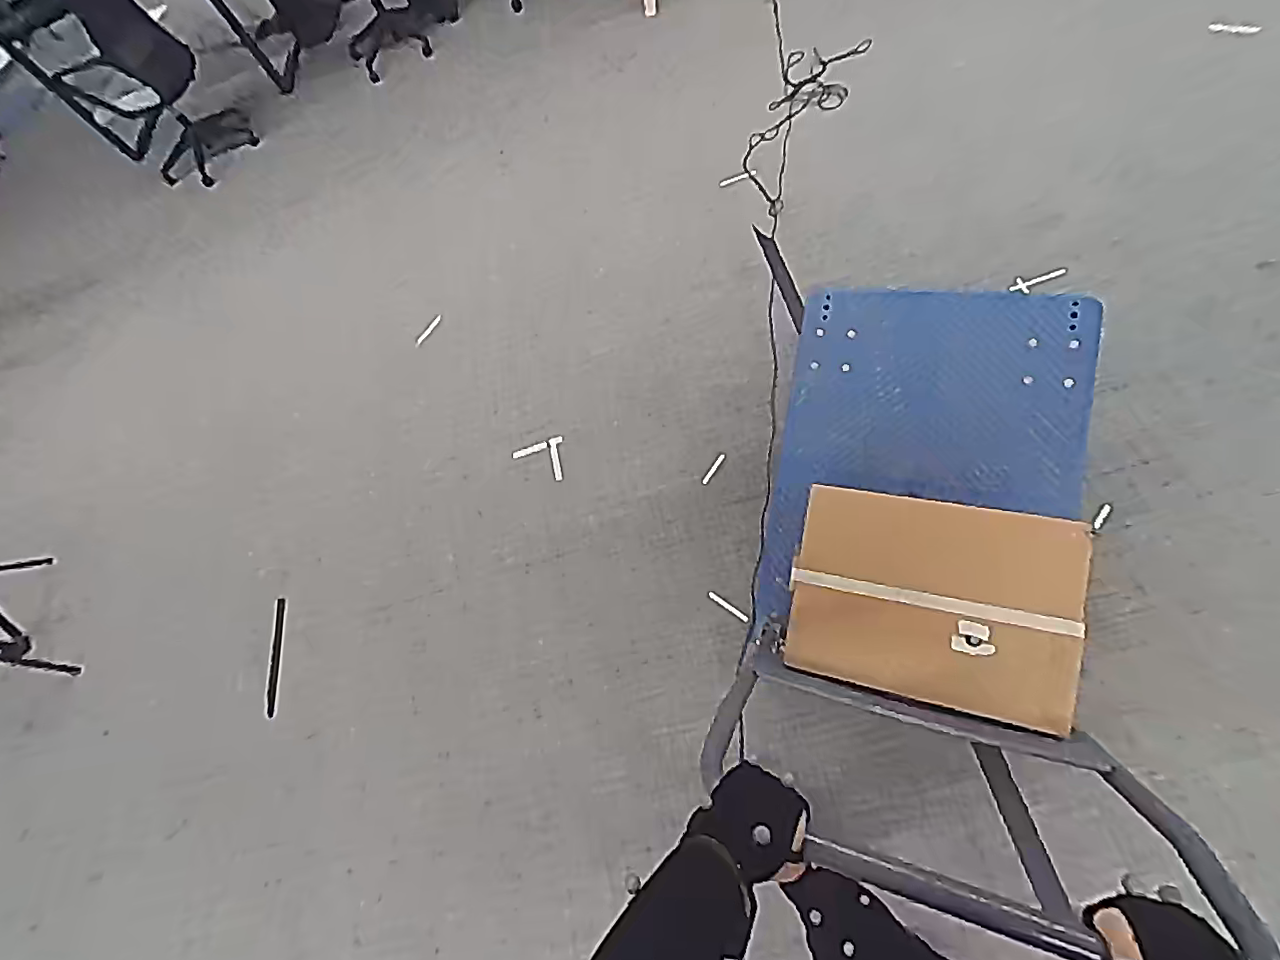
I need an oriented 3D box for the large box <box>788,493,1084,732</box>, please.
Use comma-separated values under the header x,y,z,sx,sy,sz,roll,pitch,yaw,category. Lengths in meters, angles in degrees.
x,y,z,sx,sy,sz,roll,pitch,yaw,category
0.505,0.217,1.005,0.408,0.320,0.320,9,86,20,large box
